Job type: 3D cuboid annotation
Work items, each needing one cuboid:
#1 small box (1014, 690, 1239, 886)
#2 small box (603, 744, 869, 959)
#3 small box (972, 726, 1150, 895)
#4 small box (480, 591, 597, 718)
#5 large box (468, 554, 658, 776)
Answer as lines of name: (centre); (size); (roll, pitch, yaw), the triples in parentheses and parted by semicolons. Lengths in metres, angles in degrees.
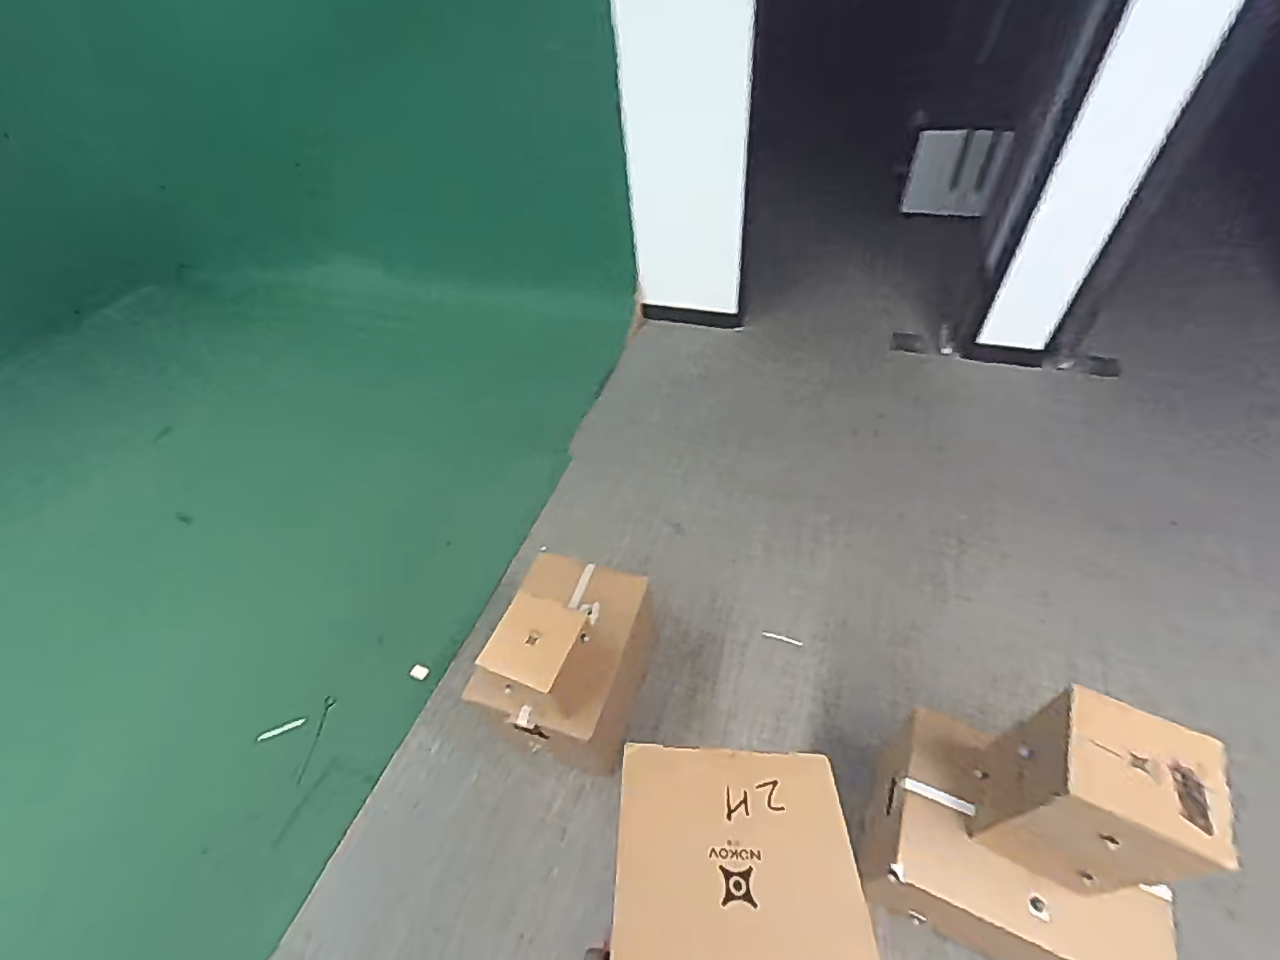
small box: (0.672, 0.439, 0.767); (0.179, 0.176, 0.168); (20, 52, 23)
small box: (0.058, 0.334, 0.411); (0.168, 0.176, 0.179); (4, 34, 0)
small box: (0.683, 0.546, 0.891); (0.179, 0.176, 0.168); (20, 52, 22)
small box: (-0.202, 0.371, 1.140); (0.168, 0.176, 0.179); (15, 51, 18)
large box: (-0.165, 0.465, 1.380); (0.320, 0.320, 0.408); (12, 51, 16)
